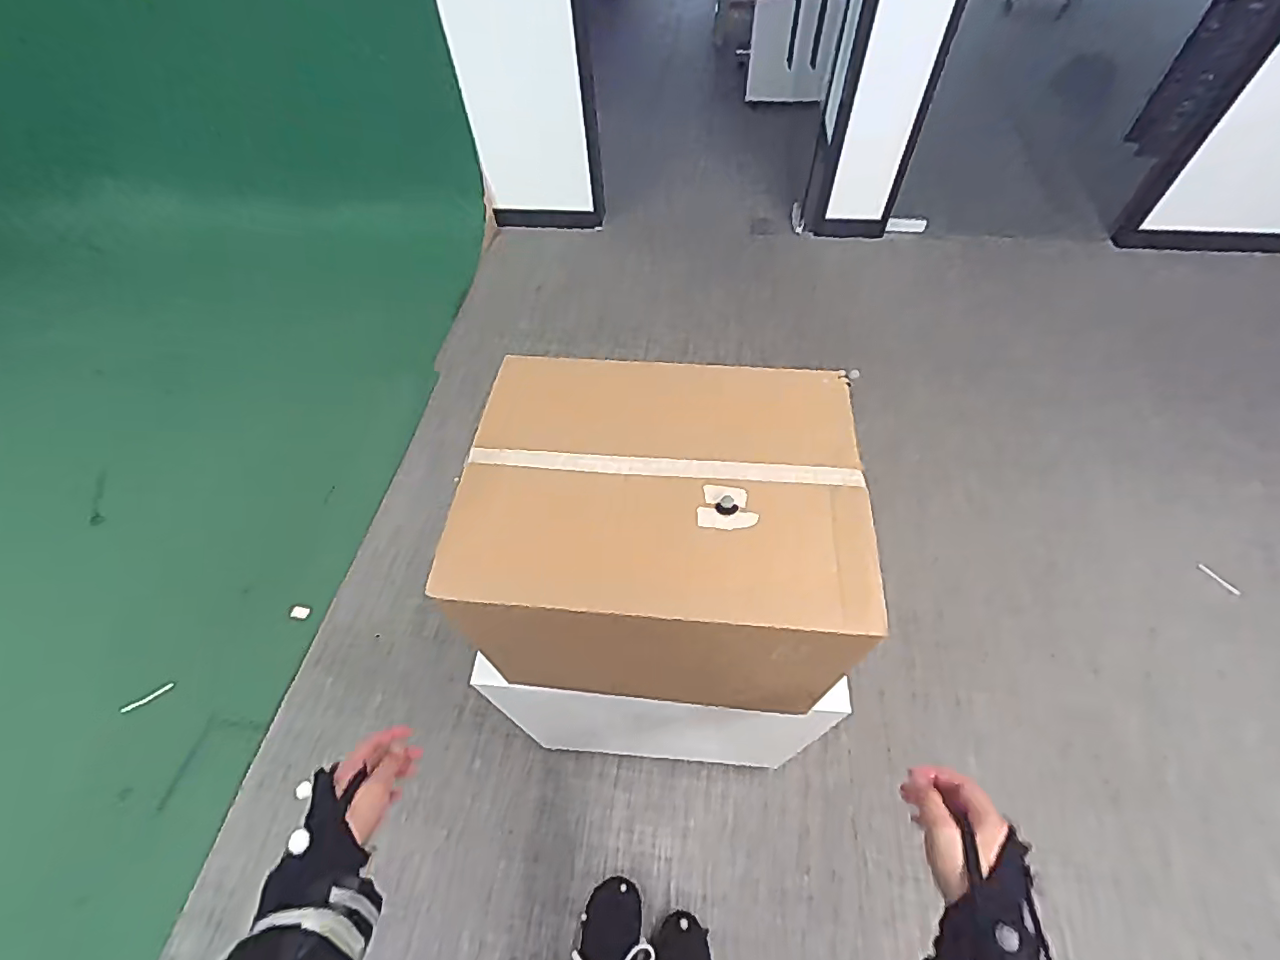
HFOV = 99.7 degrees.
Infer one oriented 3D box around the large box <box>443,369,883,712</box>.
[{"bbox_3d":[0.028,0.084,0.686,0.408,0.320,0.320,4,56,4],"label":"large box"}]
